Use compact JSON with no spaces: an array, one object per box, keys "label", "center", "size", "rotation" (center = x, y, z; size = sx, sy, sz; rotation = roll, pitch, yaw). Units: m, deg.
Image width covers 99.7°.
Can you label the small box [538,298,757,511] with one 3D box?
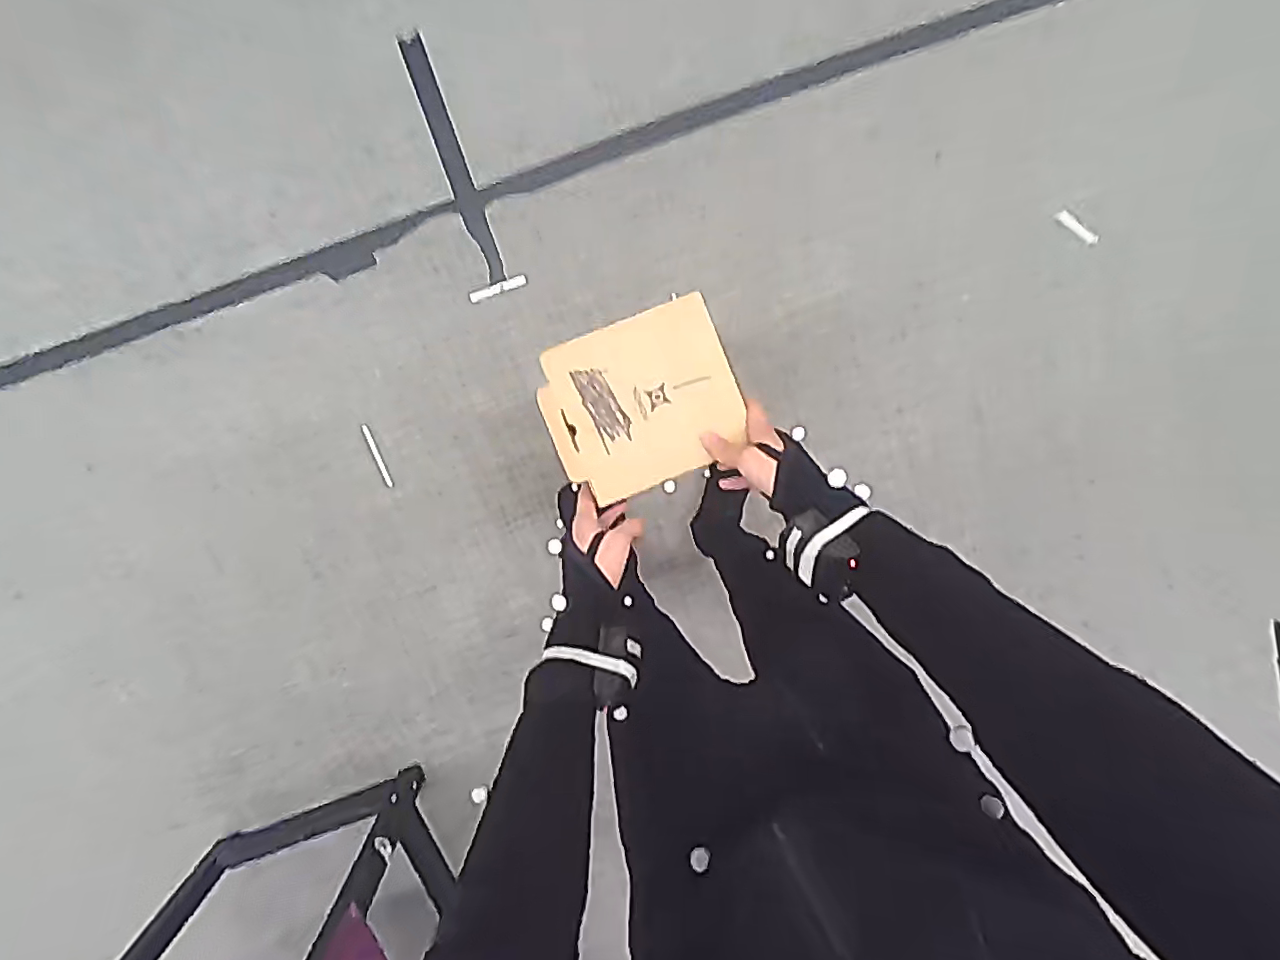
[{"label":"small box","center":[0.007,-0.075,0.613],"size":[0.179,0.176,0.168],"rotation":[-23,93,-1]}]
